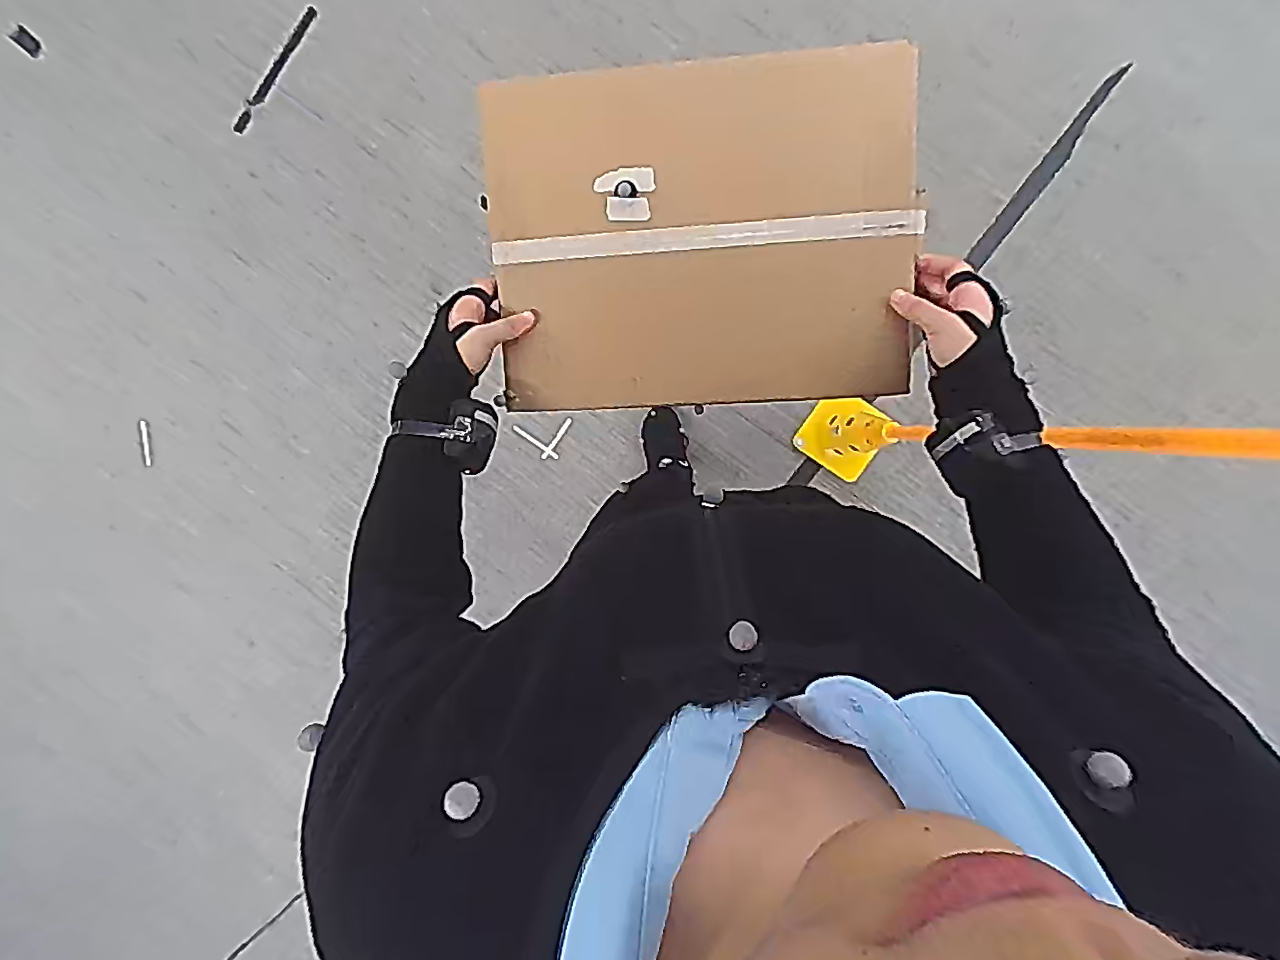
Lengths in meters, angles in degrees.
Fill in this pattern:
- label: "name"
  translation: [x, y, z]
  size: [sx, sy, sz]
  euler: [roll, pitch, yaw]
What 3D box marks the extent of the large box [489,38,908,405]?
- label: "large box"
  translation: [0.072, -0.263, 0.677]
  size: [0.408, 0.320, 0.320]
  euler: [-2, 98, 6]
